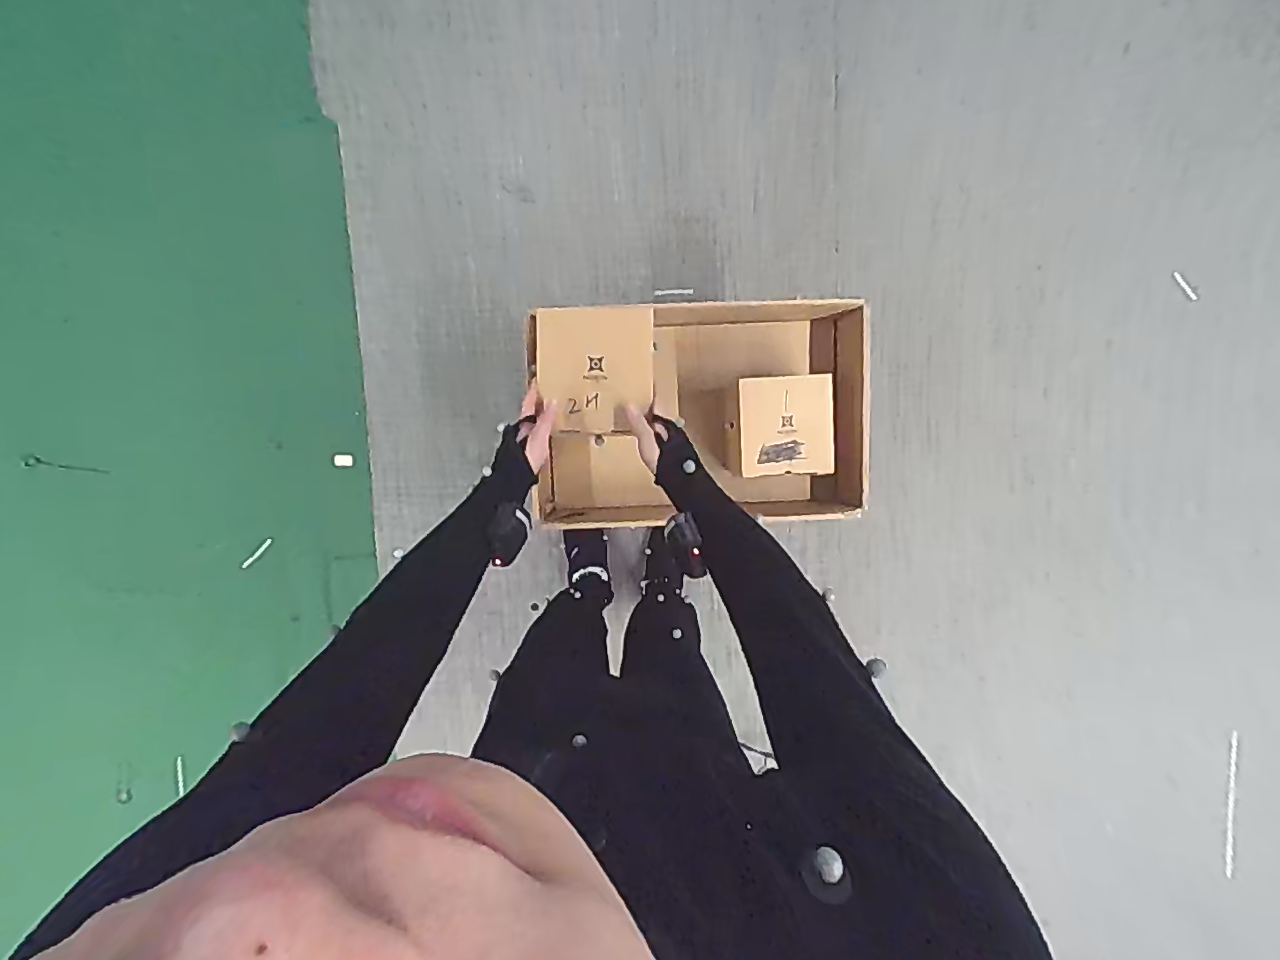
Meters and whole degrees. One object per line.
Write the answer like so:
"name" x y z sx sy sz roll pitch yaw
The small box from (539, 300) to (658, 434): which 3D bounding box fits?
"small box" -0.061 -0.164 0.832 0.168 0.176 0.179 0 92 -1
